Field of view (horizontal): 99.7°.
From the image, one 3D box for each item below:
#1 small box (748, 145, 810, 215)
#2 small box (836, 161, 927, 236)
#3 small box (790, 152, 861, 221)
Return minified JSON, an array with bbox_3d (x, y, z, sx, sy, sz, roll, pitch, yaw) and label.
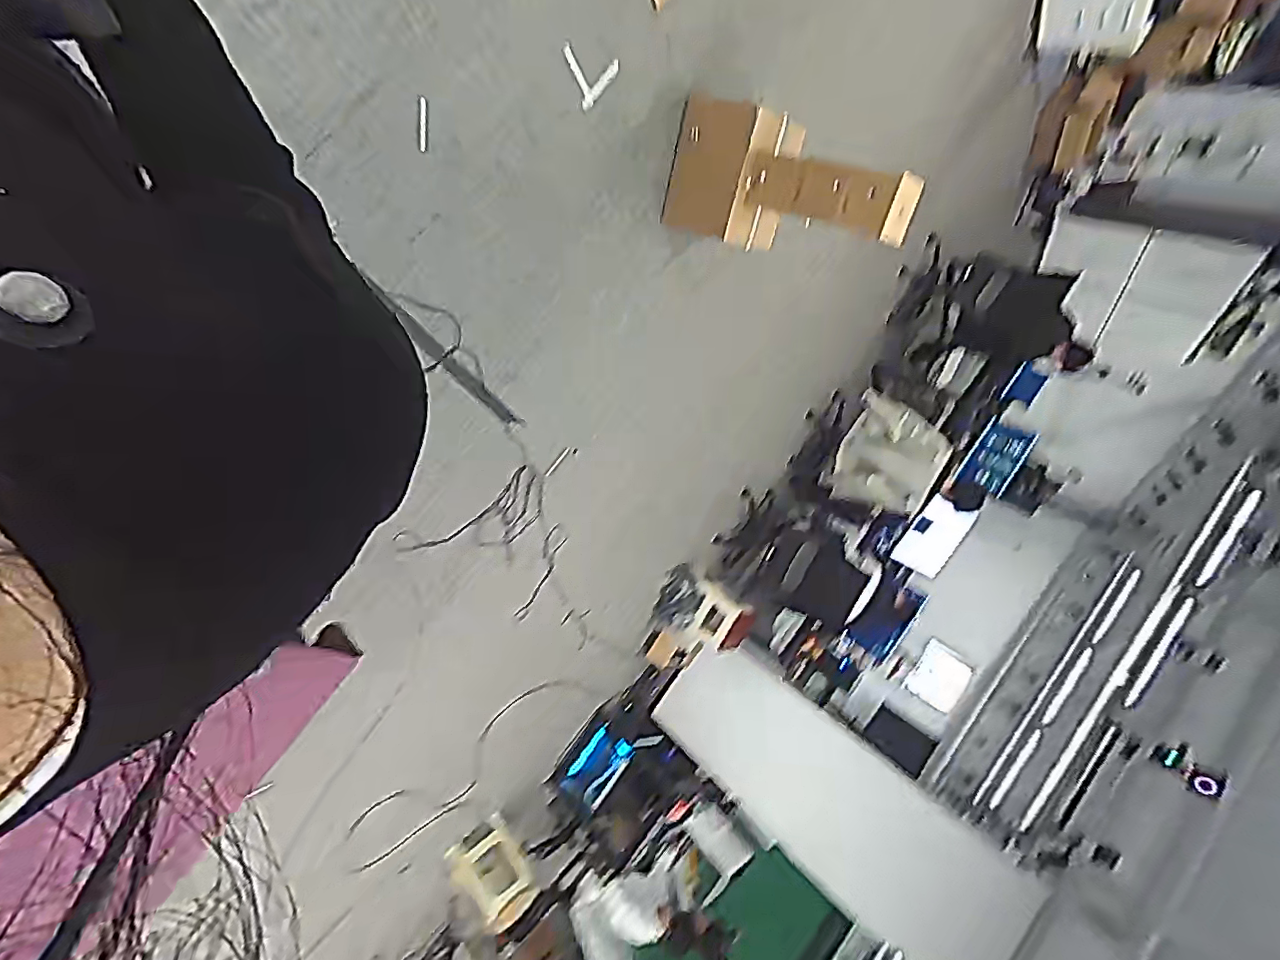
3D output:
[{"bbox_3d":[0.490,-0.999,1.799,0.179,0.176,0.168,-16,130,-44],"label":"small box"},{"bbox_3d":[0.718,-0.845,1.621,0.179,0.176,0.168,-17,130,-44],"label":"small box"},{"bbox_3d":[0.607,-0.924,1.711,0.179,0.176,0.168,-17,130,-45],"label":"small box"}]
